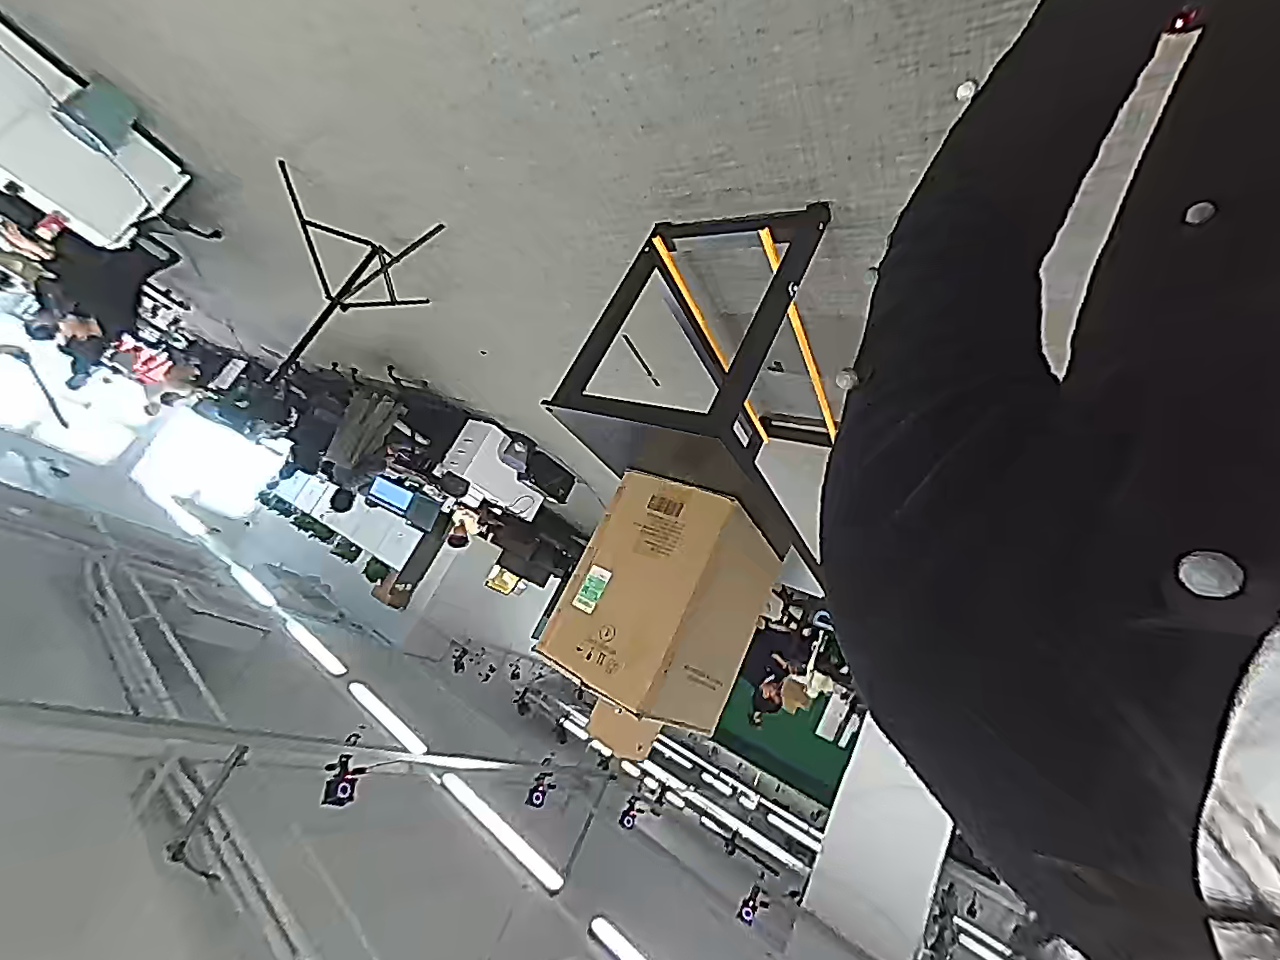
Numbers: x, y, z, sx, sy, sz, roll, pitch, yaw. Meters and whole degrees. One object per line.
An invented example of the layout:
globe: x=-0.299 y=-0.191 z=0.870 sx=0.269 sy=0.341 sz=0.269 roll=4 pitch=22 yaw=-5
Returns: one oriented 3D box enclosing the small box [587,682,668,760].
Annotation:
small box: x=-0.035 y=0.790 z=1.778 sx=0.168 sy=0.176 sz=0.179 roll=17 pitch=161 yaw=38
